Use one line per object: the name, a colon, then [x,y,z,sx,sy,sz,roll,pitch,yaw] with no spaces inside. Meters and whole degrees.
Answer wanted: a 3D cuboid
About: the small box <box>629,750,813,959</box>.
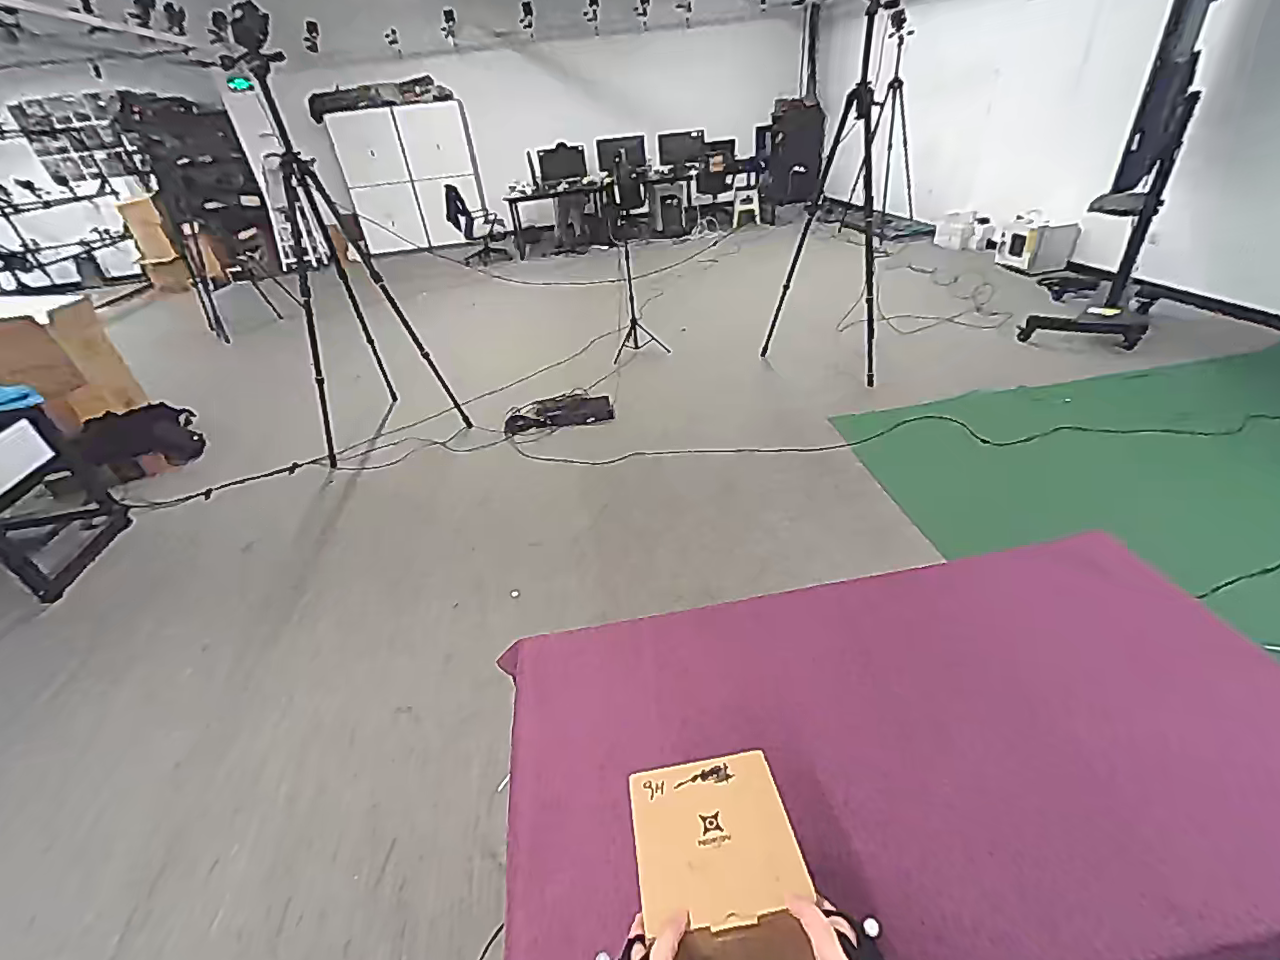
small box: [0.086,0.446,0.604,0.168,0.176,0.179,-10,23,-2]
